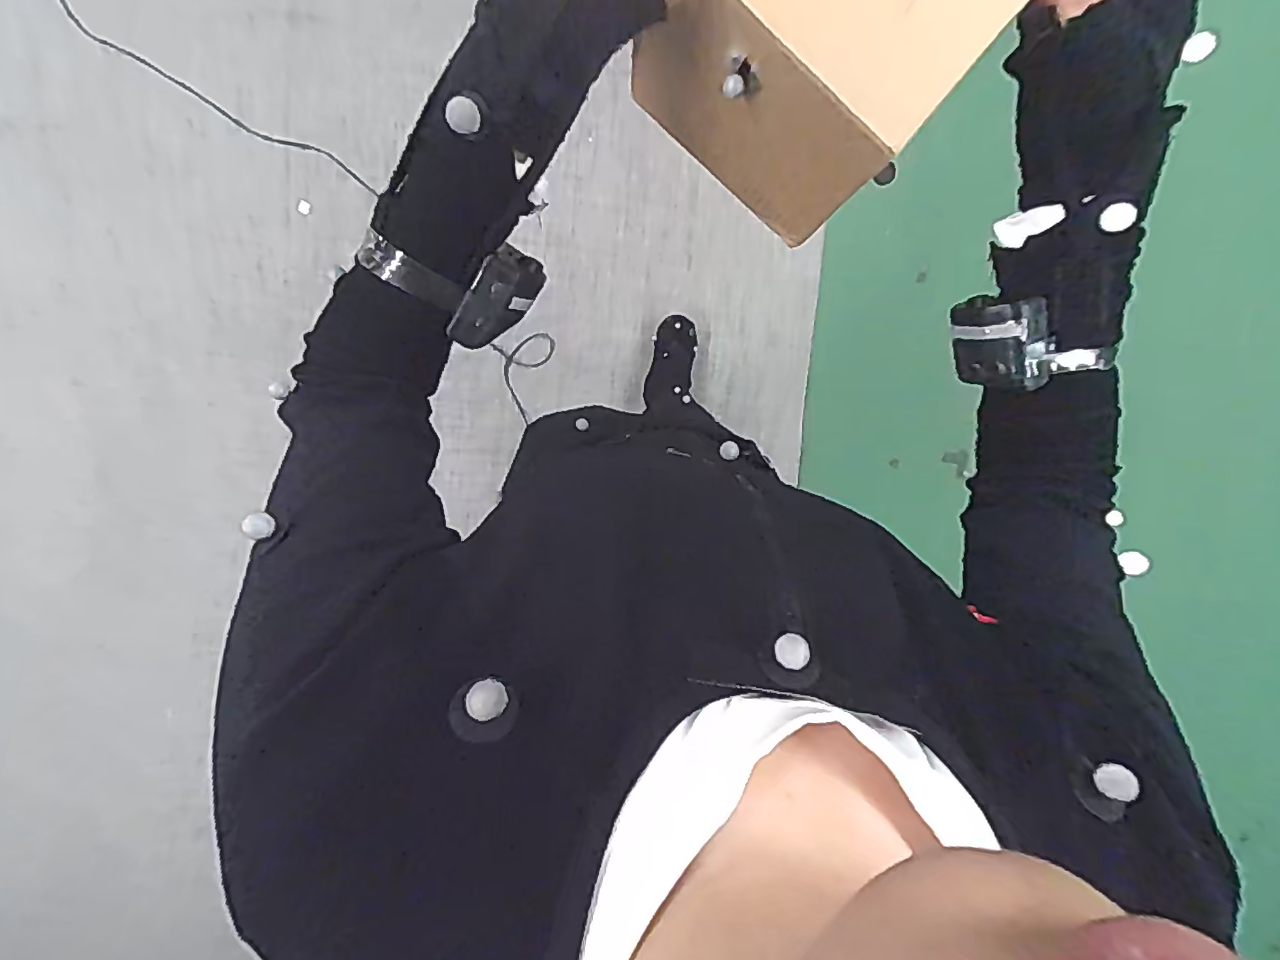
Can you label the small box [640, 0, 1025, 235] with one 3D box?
[{"bbox_3d":[0.113,-0.291,0.339,0.179,0.176,0.168,40,95,-7],"label":"small box"}]
